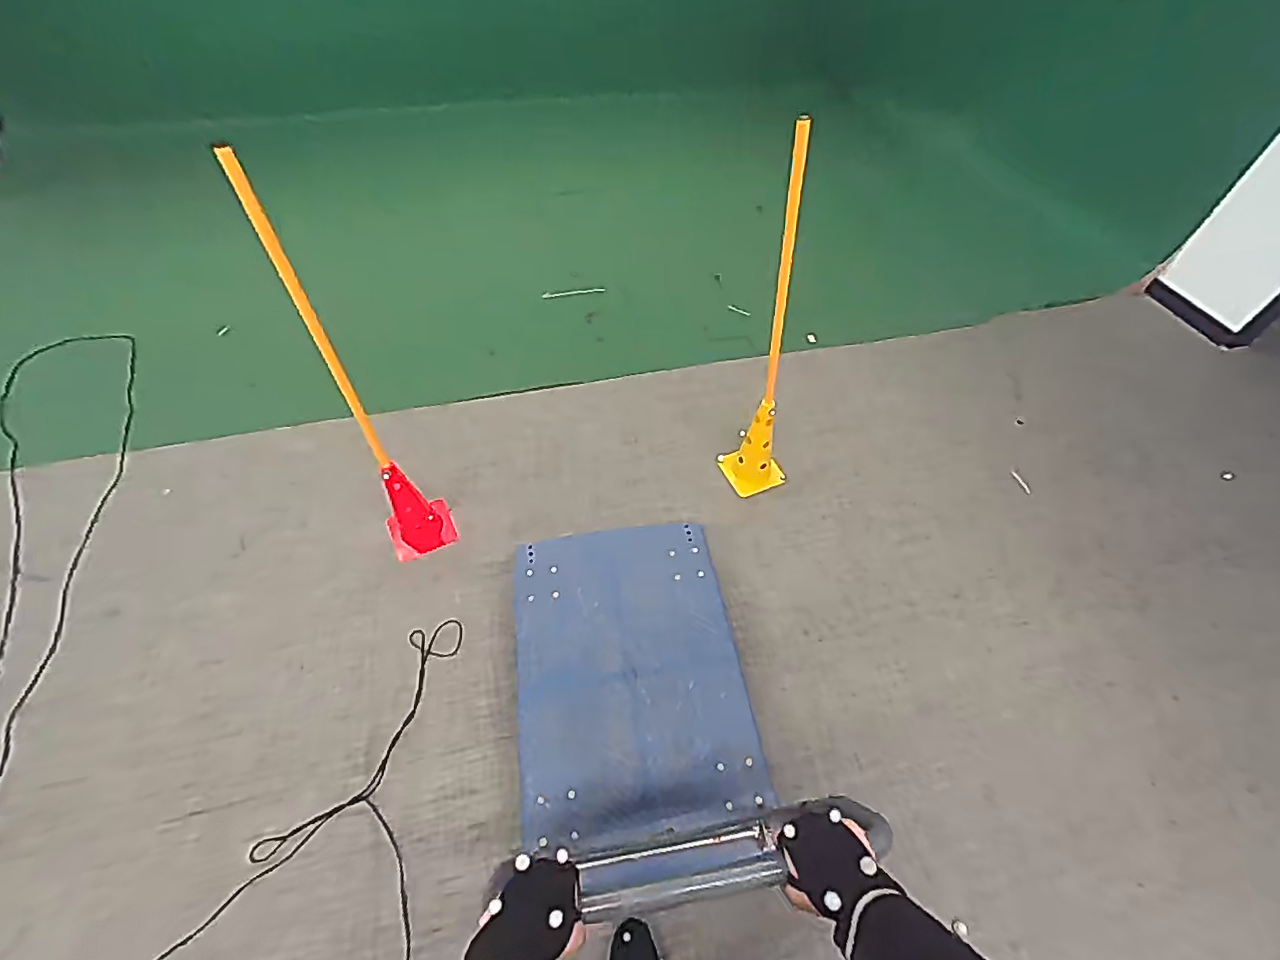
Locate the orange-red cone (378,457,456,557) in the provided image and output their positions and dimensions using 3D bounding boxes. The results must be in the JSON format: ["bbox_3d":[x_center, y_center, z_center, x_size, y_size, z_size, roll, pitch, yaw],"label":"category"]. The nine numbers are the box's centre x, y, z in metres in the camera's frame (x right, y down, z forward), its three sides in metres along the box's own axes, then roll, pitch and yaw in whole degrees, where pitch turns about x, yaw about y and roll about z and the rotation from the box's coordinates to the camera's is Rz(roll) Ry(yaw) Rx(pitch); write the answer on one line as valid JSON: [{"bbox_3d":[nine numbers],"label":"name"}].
[{"bbox_3d":[-0.739,0.054,1.700,0.199,0.360,0.198,-23,56,-16],"label":"orange-red cone"}]
